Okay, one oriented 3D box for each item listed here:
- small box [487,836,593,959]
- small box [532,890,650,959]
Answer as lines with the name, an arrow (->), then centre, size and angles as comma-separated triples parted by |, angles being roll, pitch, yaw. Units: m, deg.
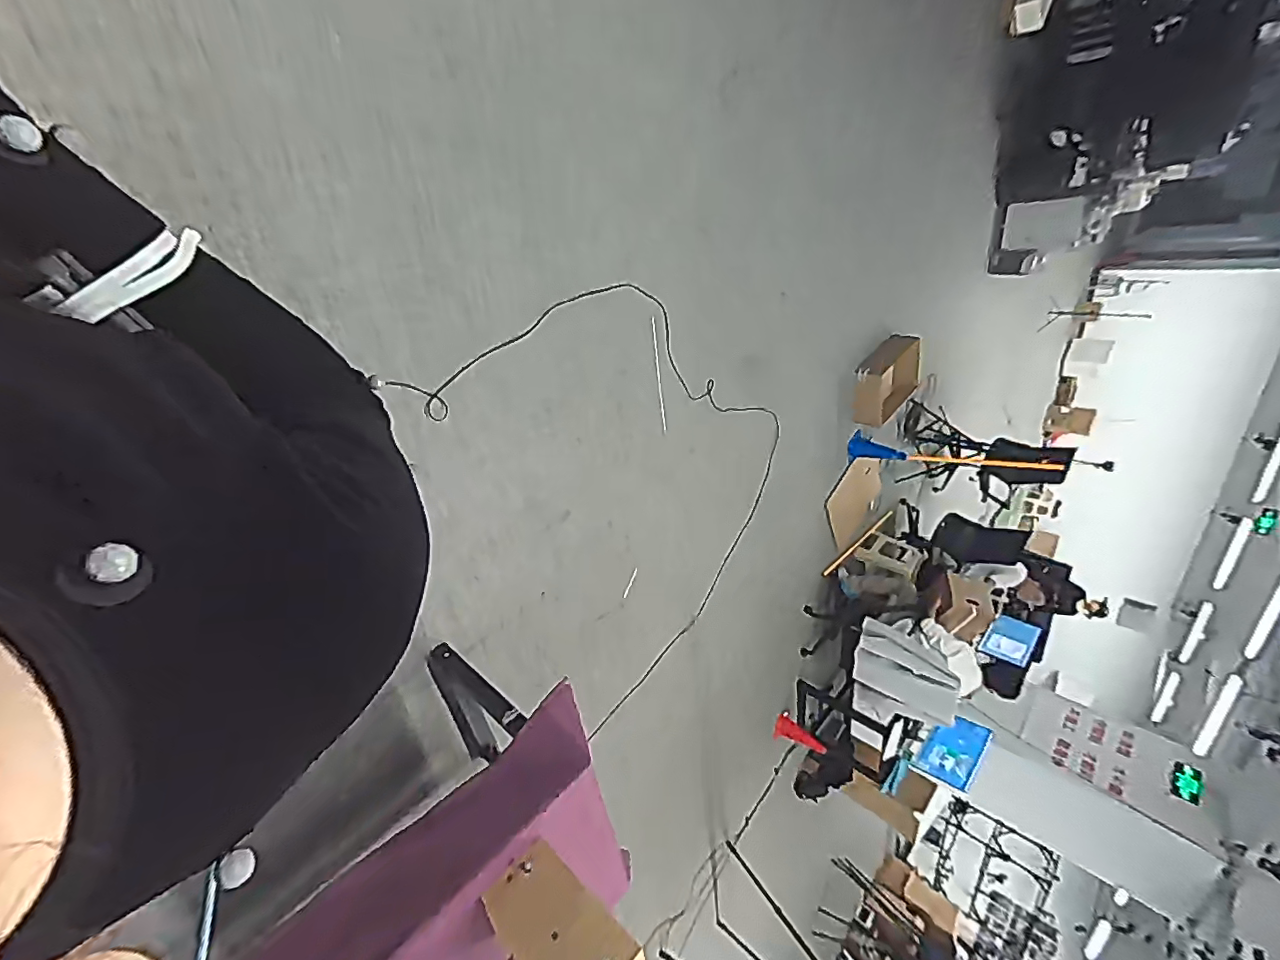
small box -> -0.213, 0.945, 1.196 | 0.168, 0.176, 0.179 | -28, 123, -38
small box -> -0.095, 0.985, 1.086 | 0.168, 0.176, 0.179 | -28, 125, -39
